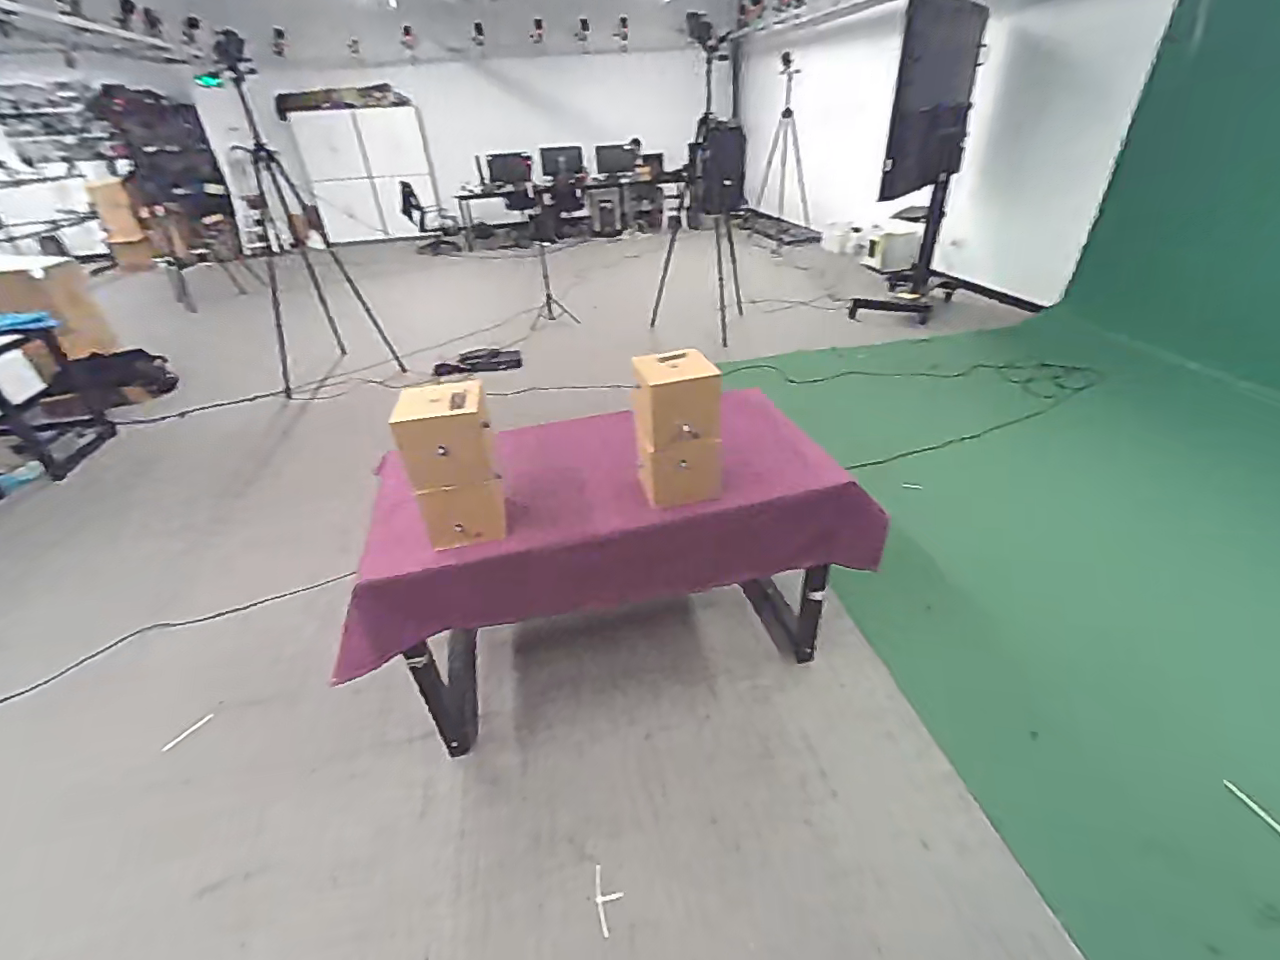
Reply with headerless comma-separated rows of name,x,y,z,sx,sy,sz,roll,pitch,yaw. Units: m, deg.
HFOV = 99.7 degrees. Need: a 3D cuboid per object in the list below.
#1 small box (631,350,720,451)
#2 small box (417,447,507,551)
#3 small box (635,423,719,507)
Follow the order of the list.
small box,0.079,-0.189,1.277,0.168,0.176,0.179,-12,35,-10
small box,-0.416,0.043,1.286,0.168,0.176,0.179,-10,34,-9
small box,0.092,-0.048,1.361,0.179,0.176,0.168,-10,34,-8
